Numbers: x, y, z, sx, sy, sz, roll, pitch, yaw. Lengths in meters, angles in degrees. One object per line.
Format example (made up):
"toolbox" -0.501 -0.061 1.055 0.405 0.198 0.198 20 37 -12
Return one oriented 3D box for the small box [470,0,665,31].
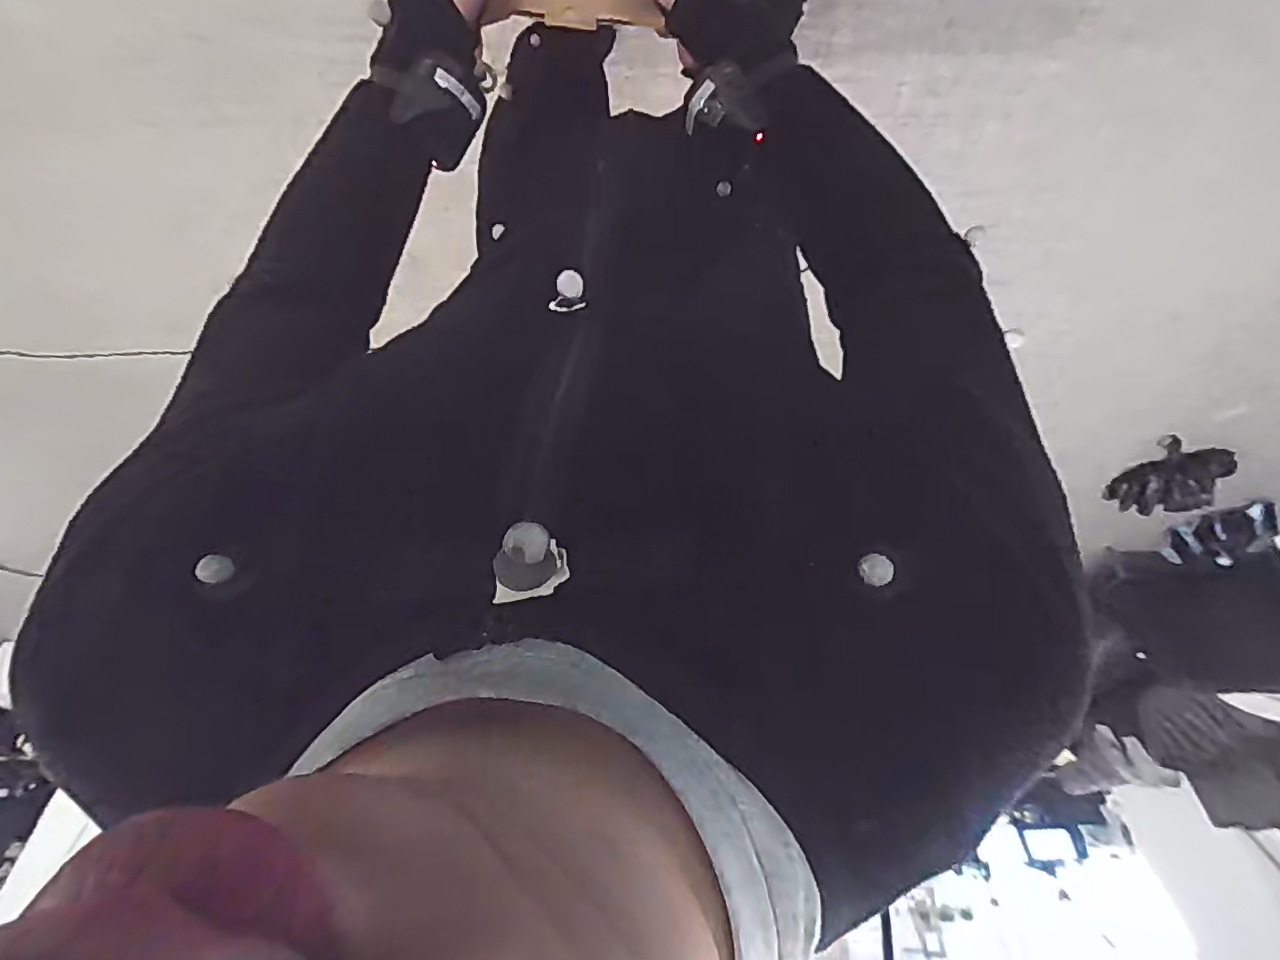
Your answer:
"small box" -0.052 -0.501 0.437 0.168 0.176 0.179 3 141 -2
